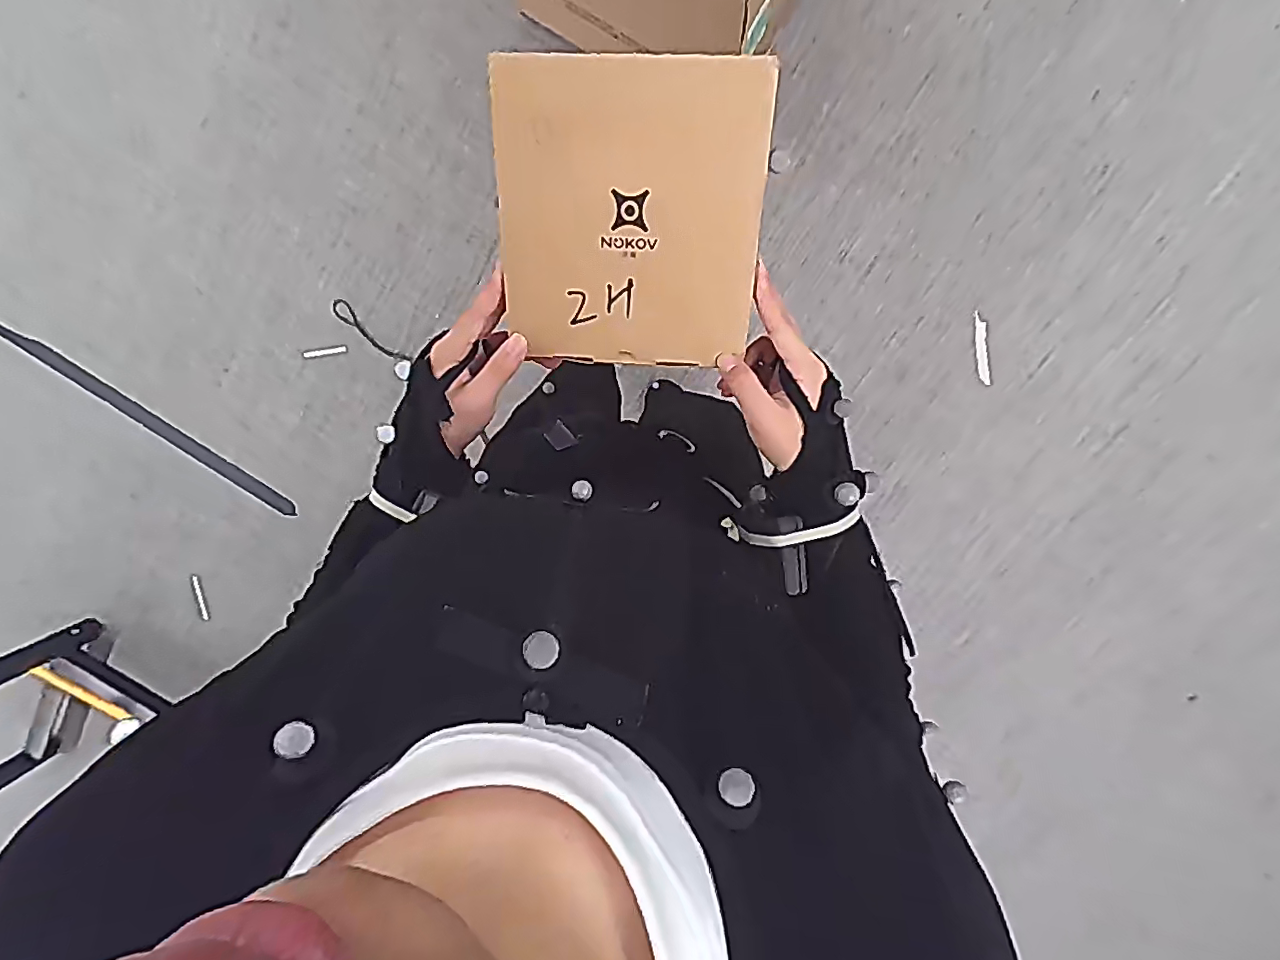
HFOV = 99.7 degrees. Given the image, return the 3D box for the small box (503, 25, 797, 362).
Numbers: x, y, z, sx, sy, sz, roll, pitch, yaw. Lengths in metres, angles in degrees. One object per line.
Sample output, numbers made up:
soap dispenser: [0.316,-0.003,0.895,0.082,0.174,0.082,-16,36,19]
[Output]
small box: [0.007,-0.197,0.401,0.168,0.176,0.179,5,115,4]
